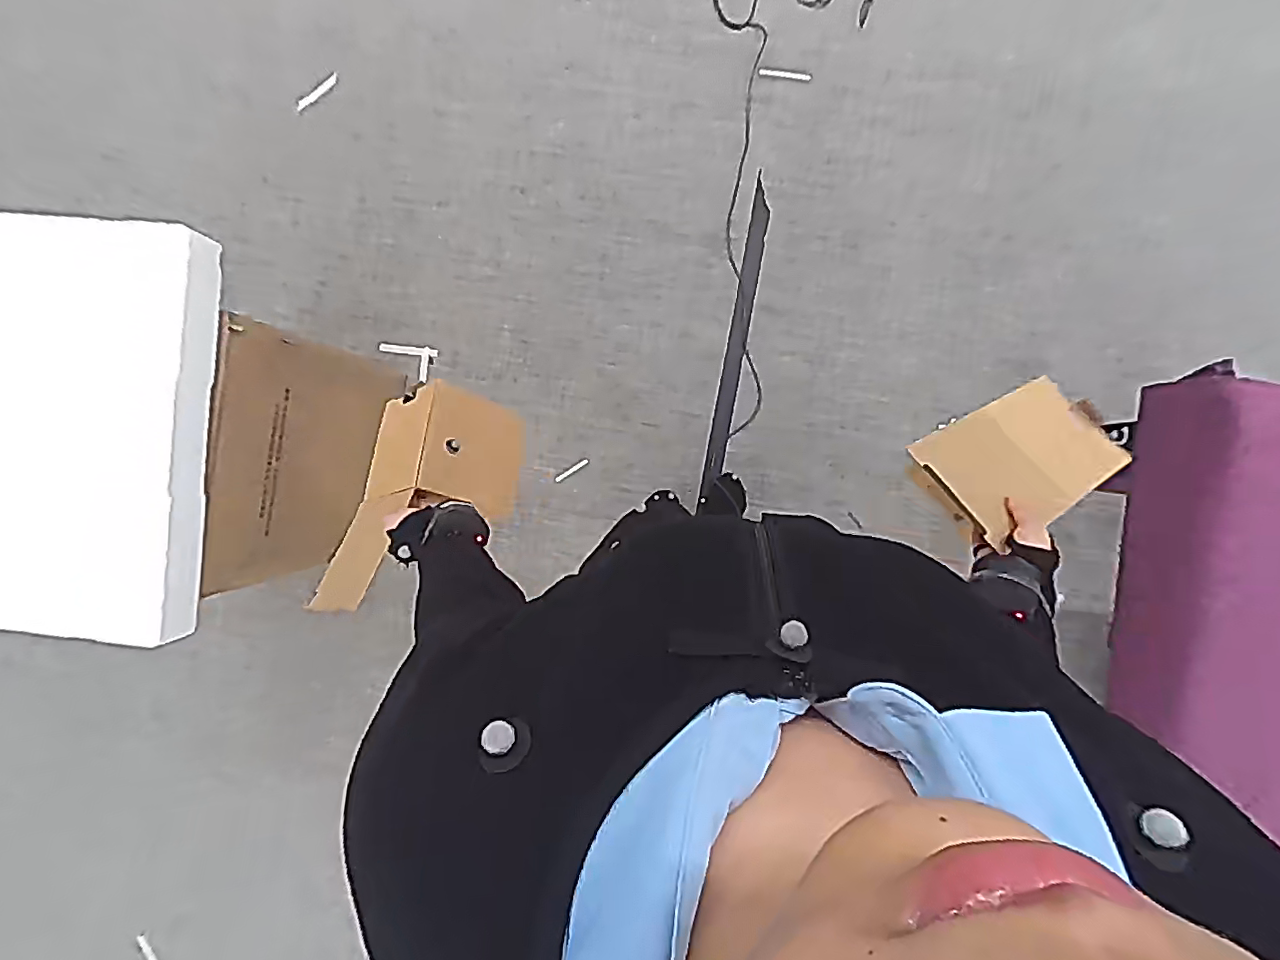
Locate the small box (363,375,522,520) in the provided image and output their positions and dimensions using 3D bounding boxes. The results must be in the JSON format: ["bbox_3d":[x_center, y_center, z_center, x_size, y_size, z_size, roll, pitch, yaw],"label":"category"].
[{"bbox_3d":[-0.308,-0.037,0.863,0.168,0.176,0.179,-12,66,39],"label":"small box"}]
